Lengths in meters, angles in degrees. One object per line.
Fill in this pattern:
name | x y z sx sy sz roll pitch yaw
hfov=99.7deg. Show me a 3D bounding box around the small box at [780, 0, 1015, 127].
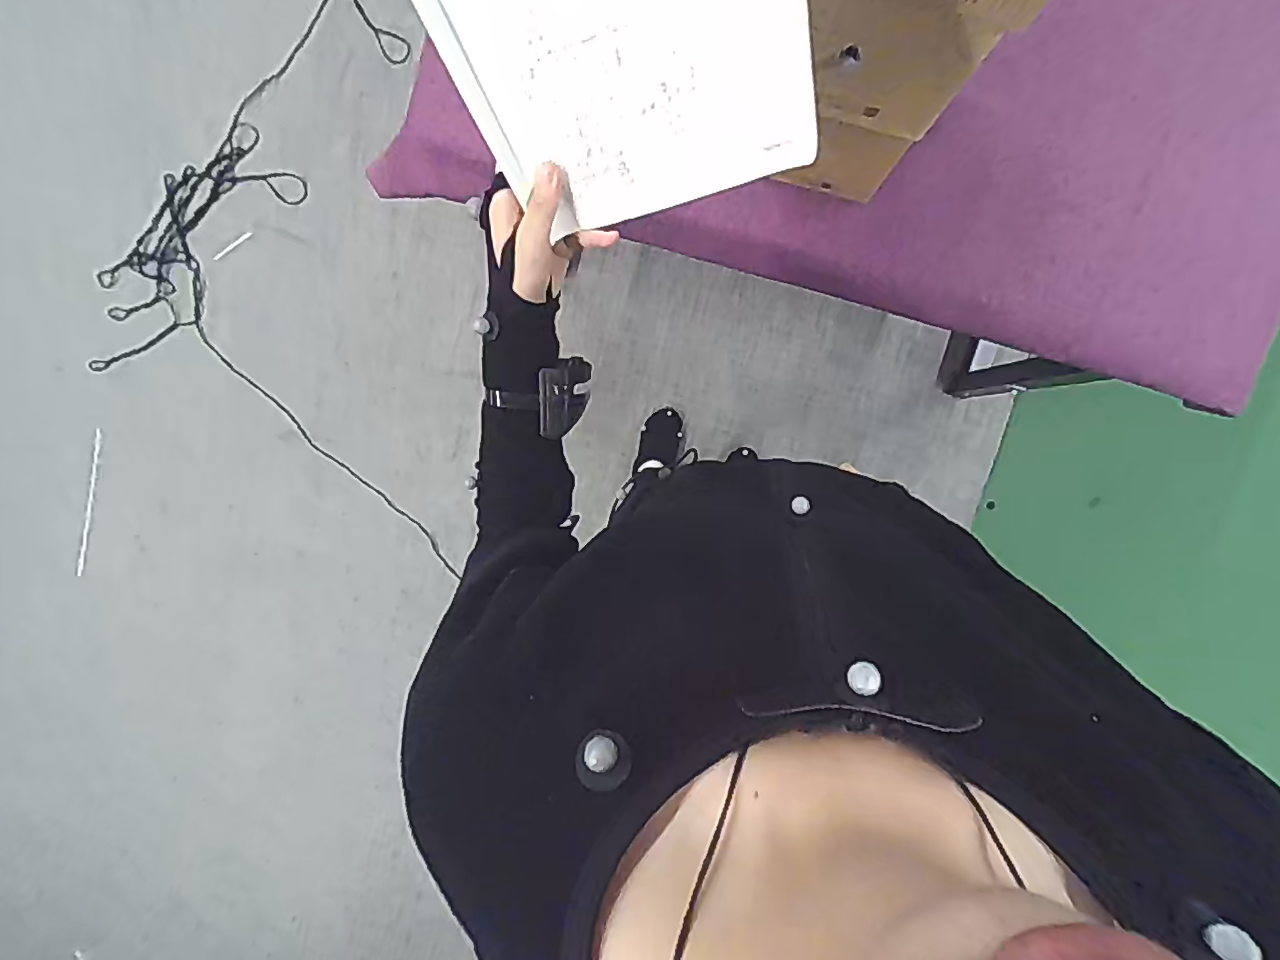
small box | 0.235 -0.462 0.484 0.168 0.176 0.179 17 95 3
